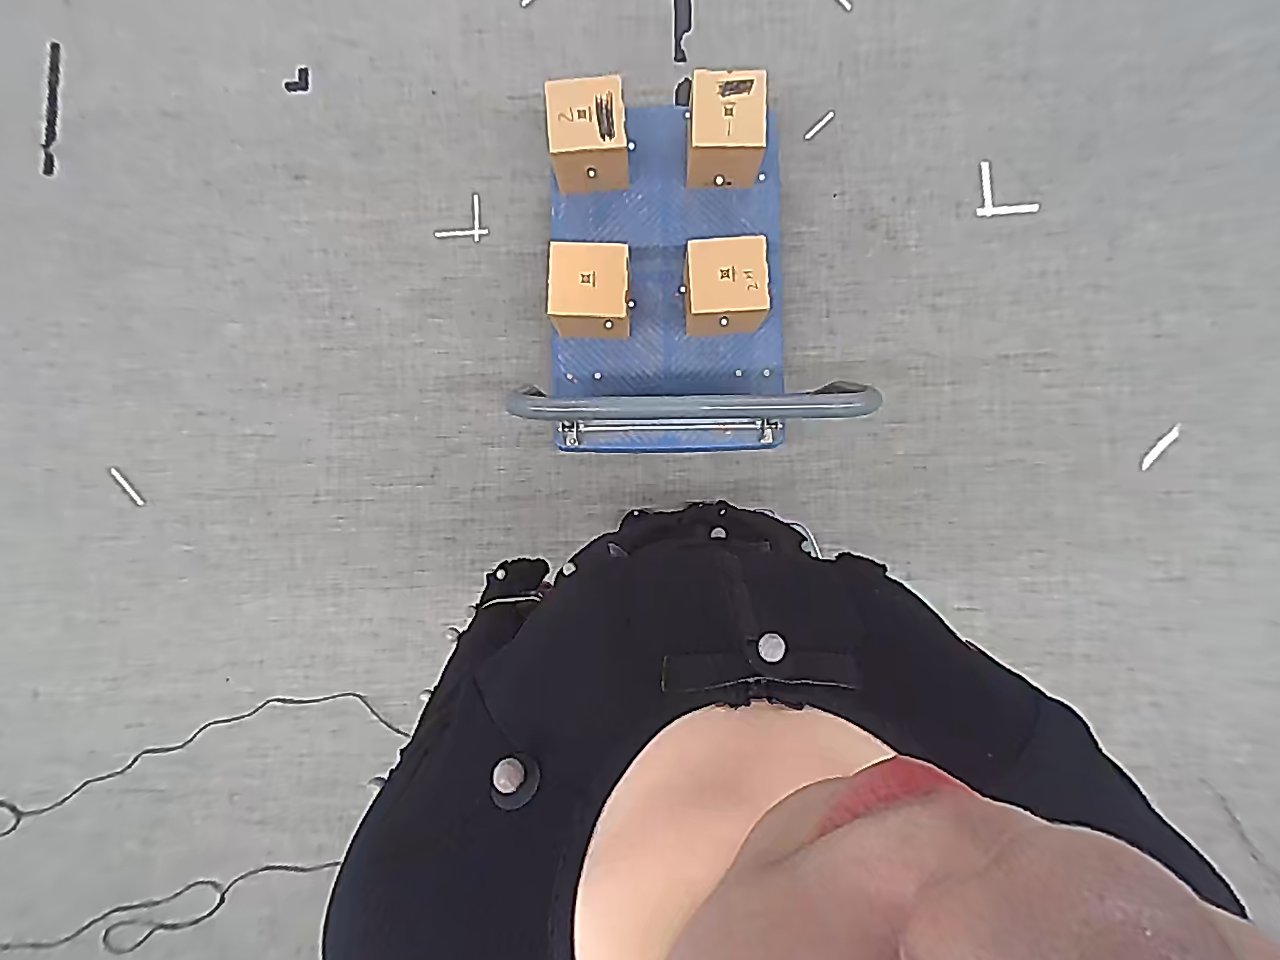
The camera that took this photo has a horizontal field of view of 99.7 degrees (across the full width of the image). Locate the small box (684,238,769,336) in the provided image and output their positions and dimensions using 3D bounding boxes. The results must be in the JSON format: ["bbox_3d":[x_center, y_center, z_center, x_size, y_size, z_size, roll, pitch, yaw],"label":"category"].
[{"bbox_3d":[0.195,-0.444,1.268,0.179,0.176,0.168,-3,88,1],"label":"small box"}]

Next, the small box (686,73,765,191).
[{"bbox_3d":[0.196,-0.818,1.281,0.168,0.176,0.179,0,89,1],"label":"small box"}]

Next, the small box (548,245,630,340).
[{"bbox_3d":[-0.115,-0.434,1.273,0.179,0.176,0.168,1,88,-1],"label":"small box"}]
